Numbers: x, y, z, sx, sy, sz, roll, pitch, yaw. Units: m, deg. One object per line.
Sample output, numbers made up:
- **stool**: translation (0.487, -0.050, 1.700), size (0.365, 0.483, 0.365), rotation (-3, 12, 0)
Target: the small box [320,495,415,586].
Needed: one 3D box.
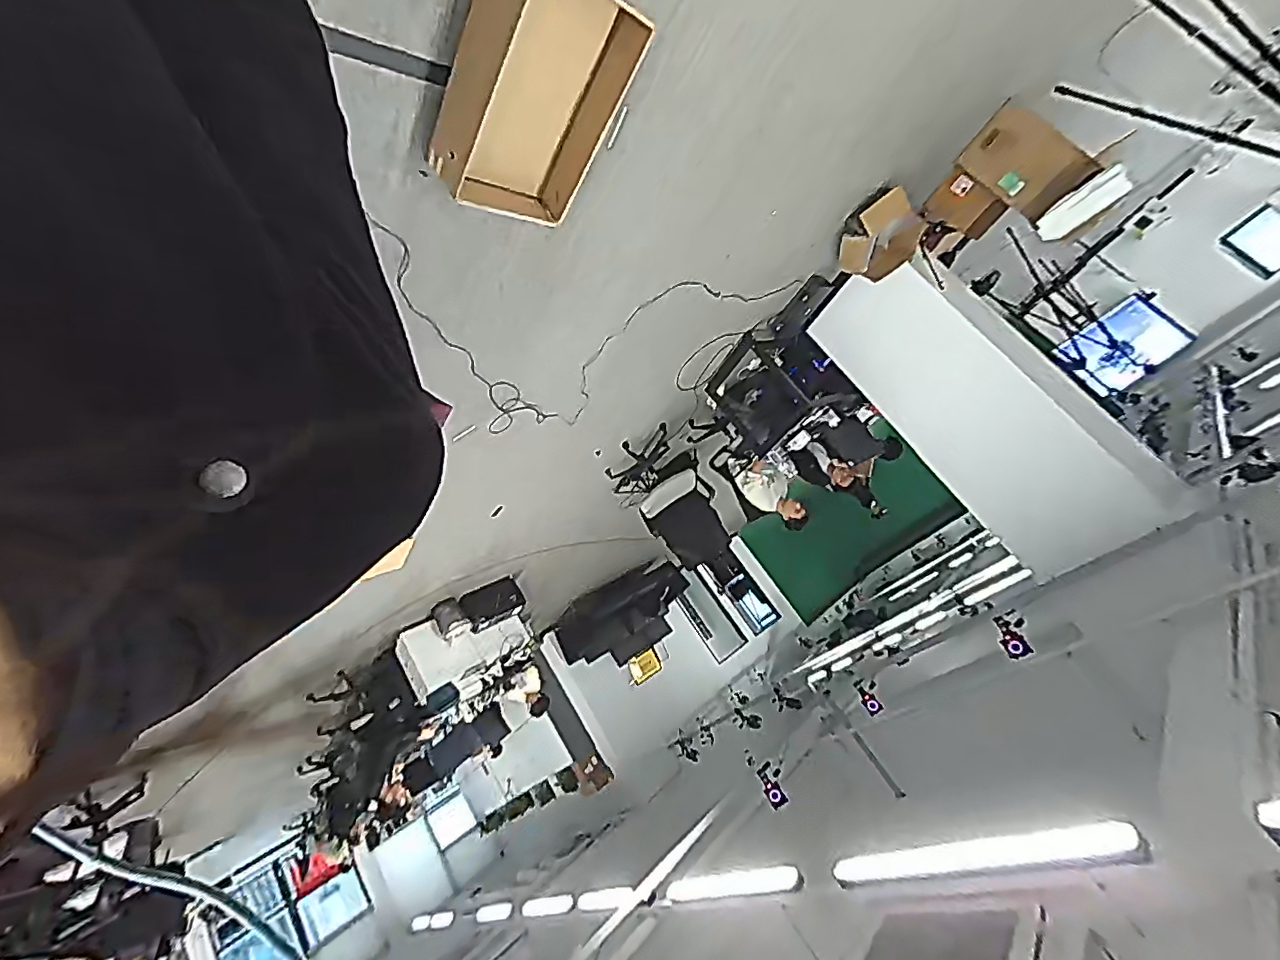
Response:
- **small box**: translation (-0.746, 0.155, 1.472), size (0.168, 0.176, 0.179), rotation (-15, 154, -46)
